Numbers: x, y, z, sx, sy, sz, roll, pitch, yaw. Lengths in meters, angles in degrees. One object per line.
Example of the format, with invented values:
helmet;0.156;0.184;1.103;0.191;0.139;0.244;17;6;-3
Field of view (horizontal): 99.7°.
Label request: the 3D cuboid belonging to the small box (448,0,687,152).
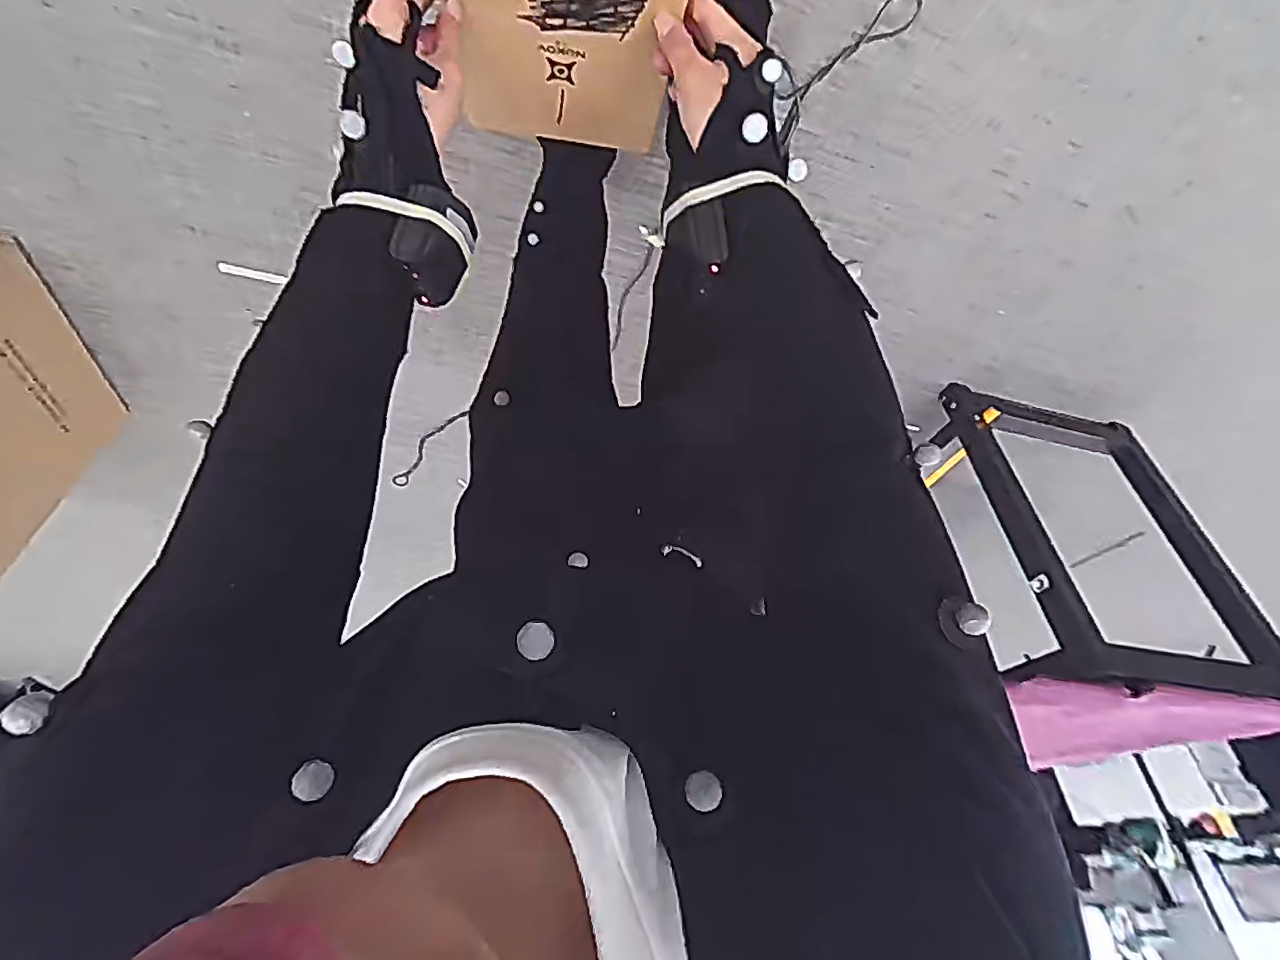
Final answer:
small box;-0.056;-0.405;0.423;0.168;0.176;0.179;4;174;-10
